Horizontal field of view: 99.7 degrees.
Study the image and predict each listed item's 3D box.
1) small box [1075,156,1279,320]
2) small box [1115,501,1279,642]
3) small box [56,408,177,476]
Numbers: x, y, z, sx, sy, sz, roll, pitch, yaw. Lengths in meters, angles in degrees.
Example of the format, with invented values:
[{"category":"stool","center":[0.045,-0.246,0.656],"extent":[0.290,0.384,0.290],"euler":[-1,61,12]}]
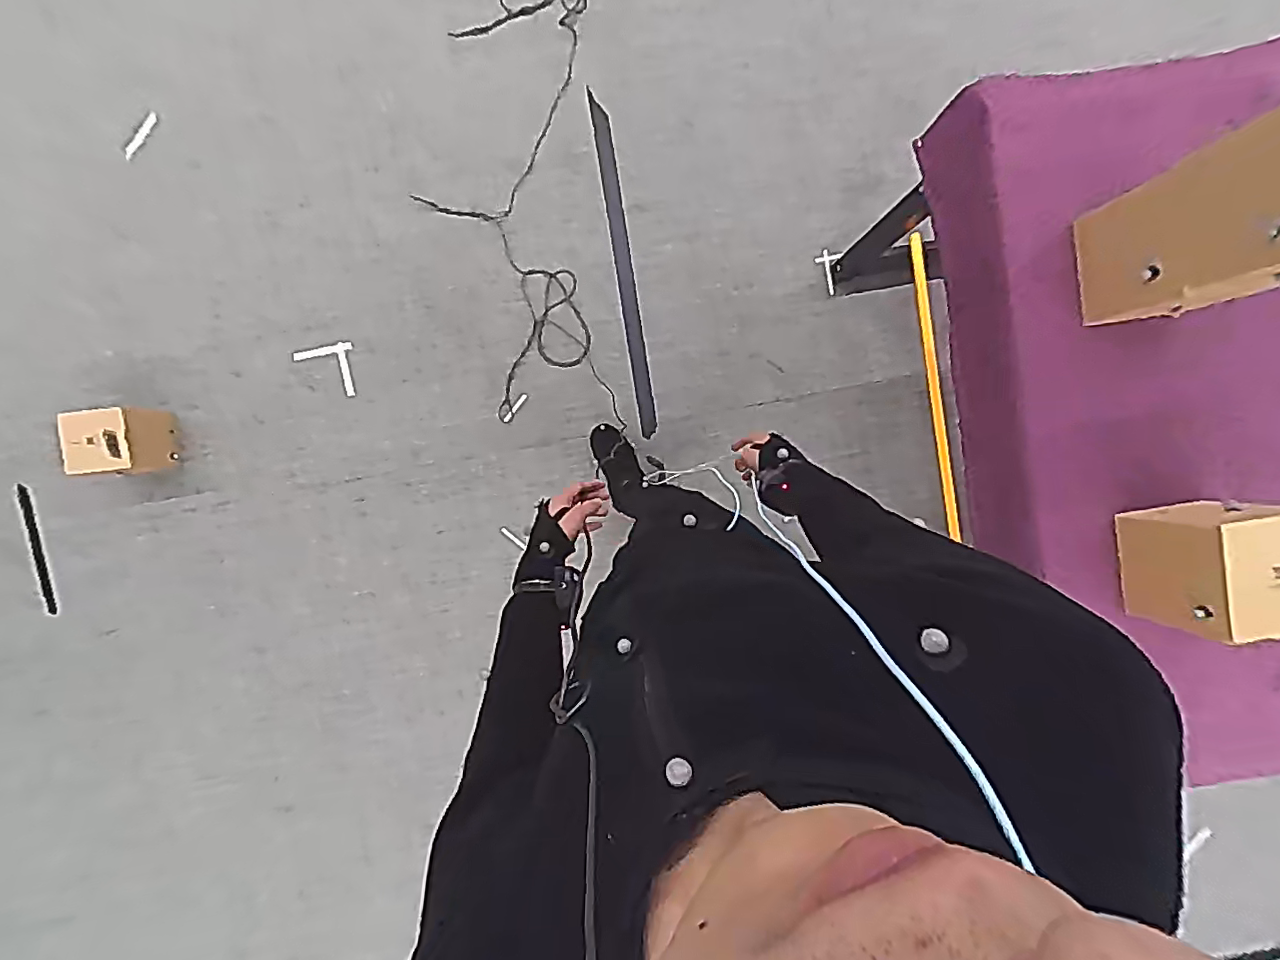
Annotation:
[{"category":"small box","center":[0.806,-0.350,0.816],"extent":[0.168,0.176,0.179],"euler":[-8,93,-2]},{"category":"small box","center":[0.894,0.130,0.843],"extent":[0.168,0.176,0.179],"euler":[-9,93,-2]},{"category":"small box","center":[-1.437,-0.105,1.500],"extent":[0.179,0.176,0.168],"euler":[-7,92,0]}]
